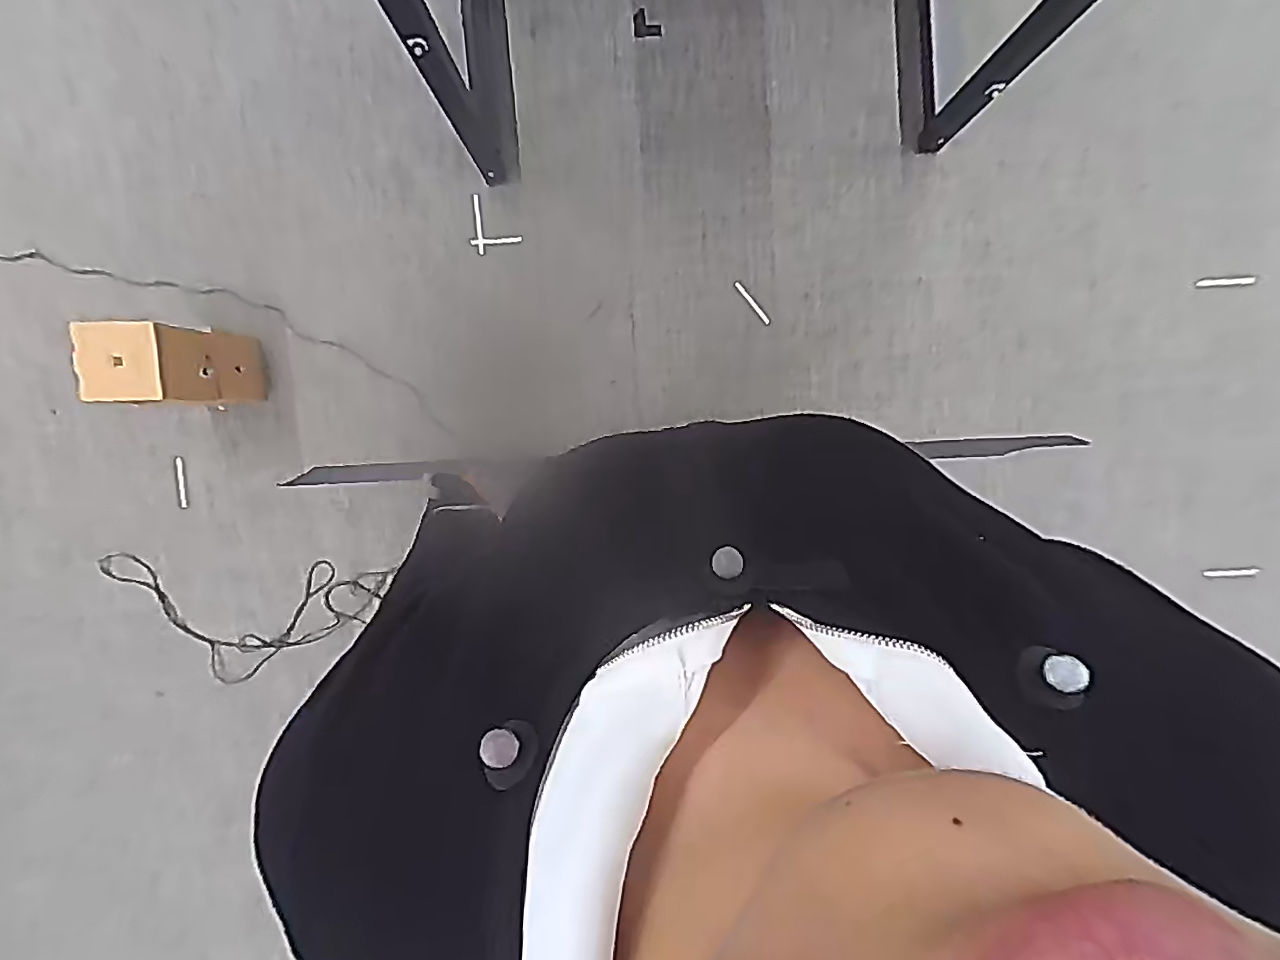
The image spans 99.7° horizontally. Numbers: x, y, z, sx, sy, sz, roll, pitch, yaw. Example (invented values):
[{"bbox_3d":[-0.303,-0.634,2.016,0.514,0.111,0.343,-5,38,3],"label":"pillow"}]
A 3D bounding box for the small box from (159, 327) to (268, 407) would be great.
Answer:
[{"bbox_3d":[-1.091,-0.282,1.377,0.168,0.176,0.179,-4,96,0],"label":"small box"}]

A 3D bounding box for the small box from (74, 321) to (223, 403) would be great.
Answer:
[{"bbox_3d":[-1.094,-0.260,1.216,0.179,0.176,0.168,-2,97,-1],"label":"small box"}]
